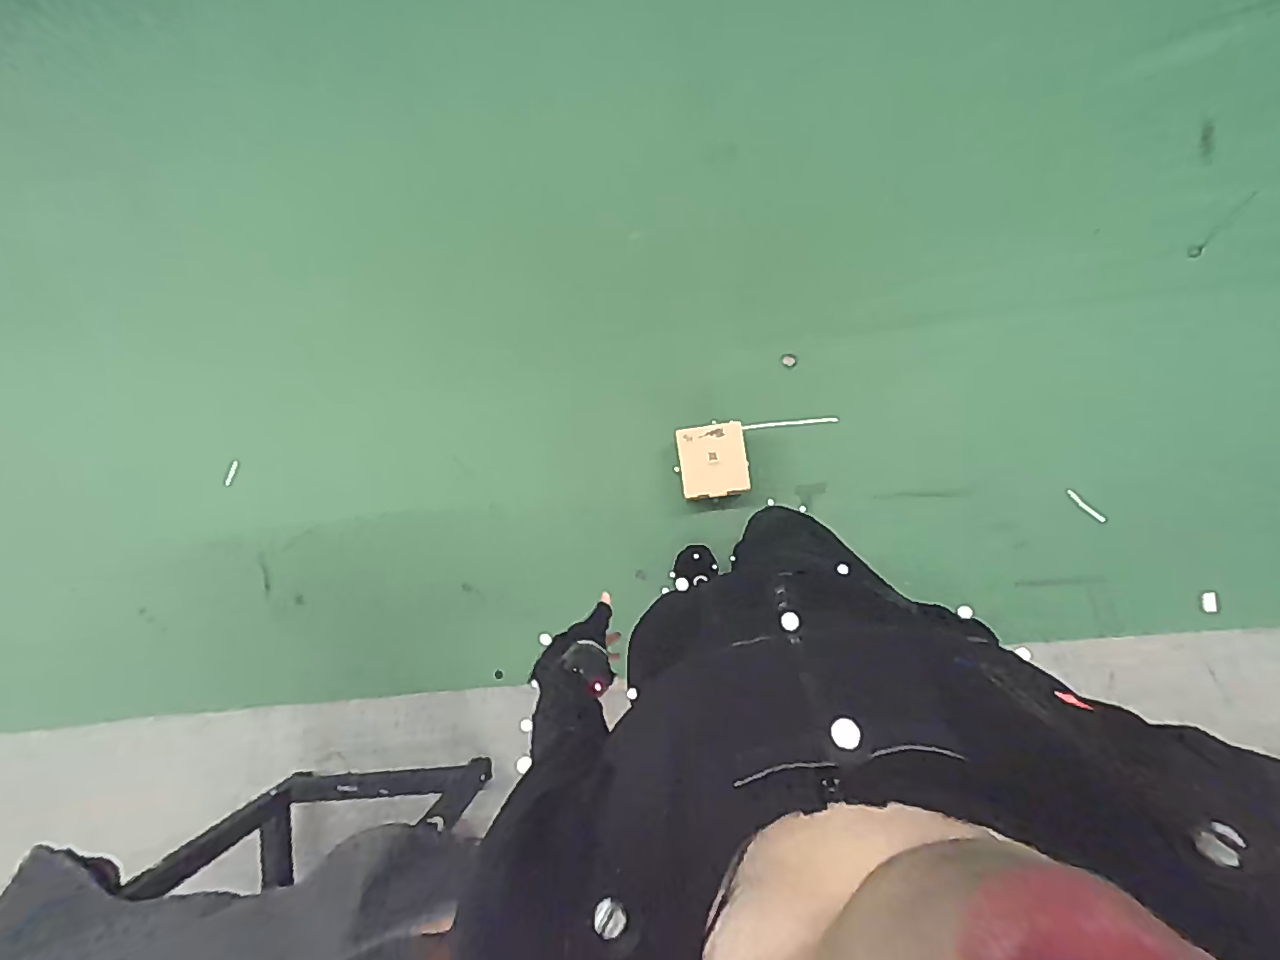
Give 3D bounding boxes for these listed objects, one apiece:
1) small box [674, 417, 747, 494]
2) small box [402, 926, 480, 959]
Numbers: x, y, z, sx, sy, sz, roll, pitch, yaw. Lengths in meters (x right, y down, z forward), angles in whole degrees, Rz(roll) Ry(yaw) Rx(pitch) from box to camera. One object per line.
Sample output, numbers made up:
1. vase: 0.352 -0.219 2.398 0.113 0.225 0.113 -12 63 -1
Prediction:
1. small box: 0.183 -0.059 1.416 0.168 0.176 0.179 -7 87 4
2. small box: -0.519 1.290 1.388 0.168 0.176 0.179 -8 87 4
